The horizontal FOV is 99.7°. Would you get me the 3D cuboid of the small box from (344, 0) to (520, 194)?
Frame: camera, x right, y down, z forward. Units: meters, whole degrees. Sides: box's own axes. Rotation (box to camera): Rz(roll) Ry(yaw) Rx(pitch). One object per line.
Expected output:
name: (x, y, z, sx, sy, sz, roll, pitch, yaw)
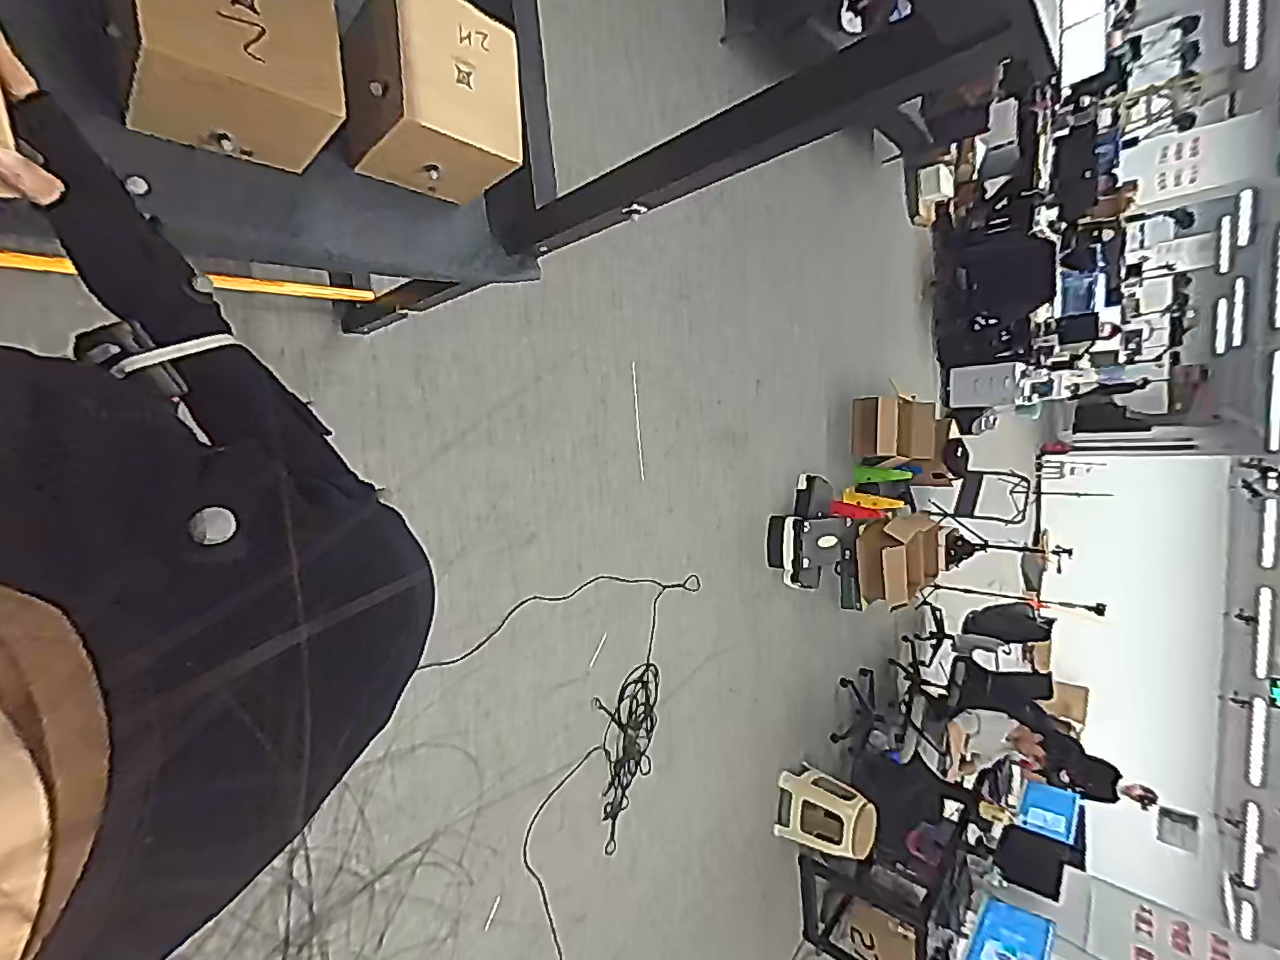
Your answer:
small box: (-0.280, -0.518, 0.730, 0.168, 0.176, 0.179, -7, 96, -47)
